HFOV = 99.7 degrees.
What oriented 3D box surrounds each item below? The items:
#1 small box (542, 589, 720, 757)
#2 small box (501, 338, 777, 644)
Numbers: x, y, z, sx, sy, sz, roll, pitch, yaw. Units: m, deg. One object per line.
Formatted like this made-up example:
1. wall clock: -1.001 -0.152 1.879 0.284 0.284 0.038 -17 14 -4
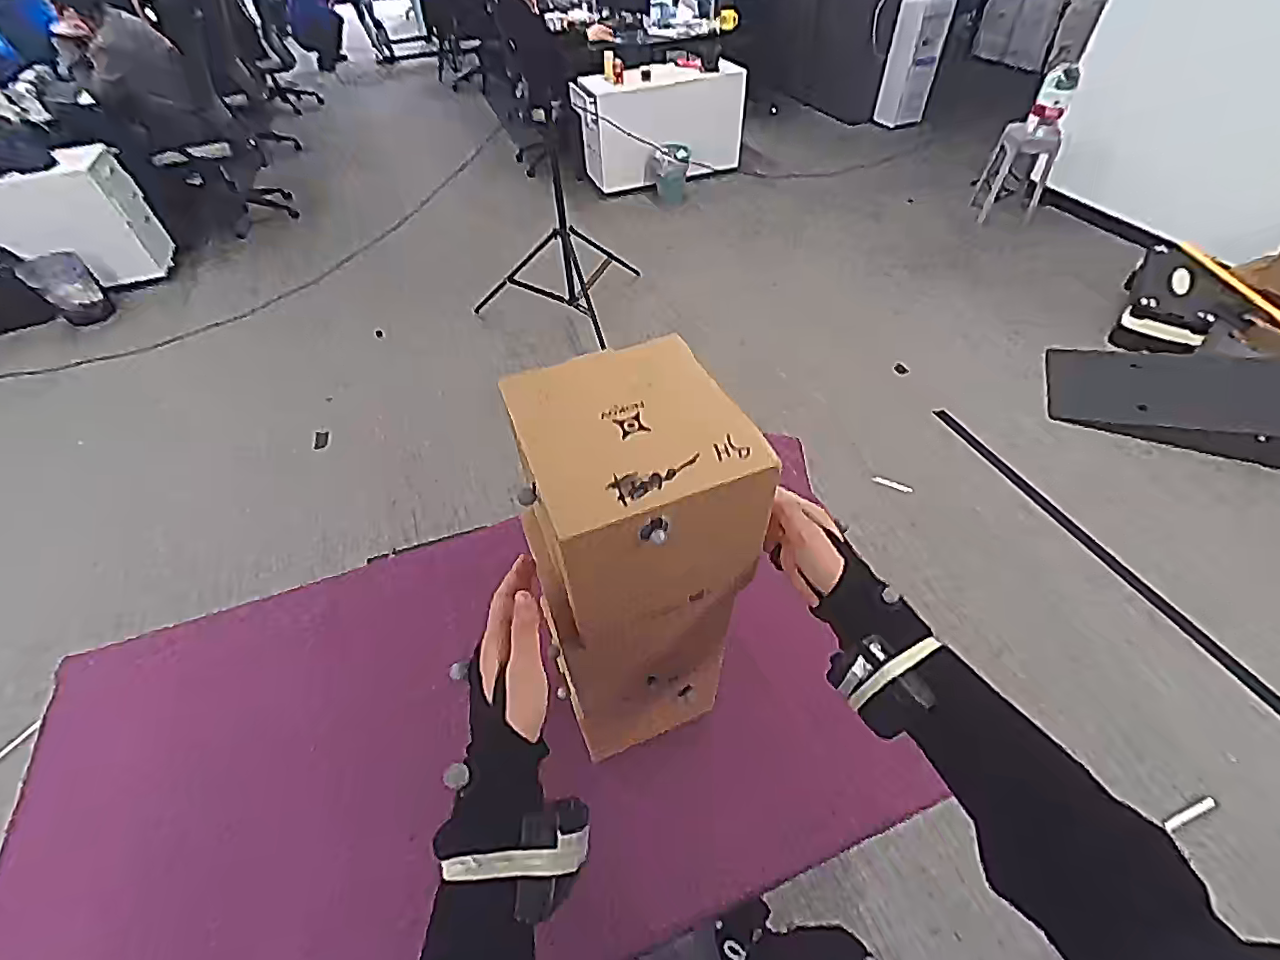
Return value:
1. small box: -0.013 0.232 0.712 0.179 0.176 0.168 -19 50 -12
2. small box: -0.008 0.009 0.470 0.168 0.176 0.179 -19 50 -13
